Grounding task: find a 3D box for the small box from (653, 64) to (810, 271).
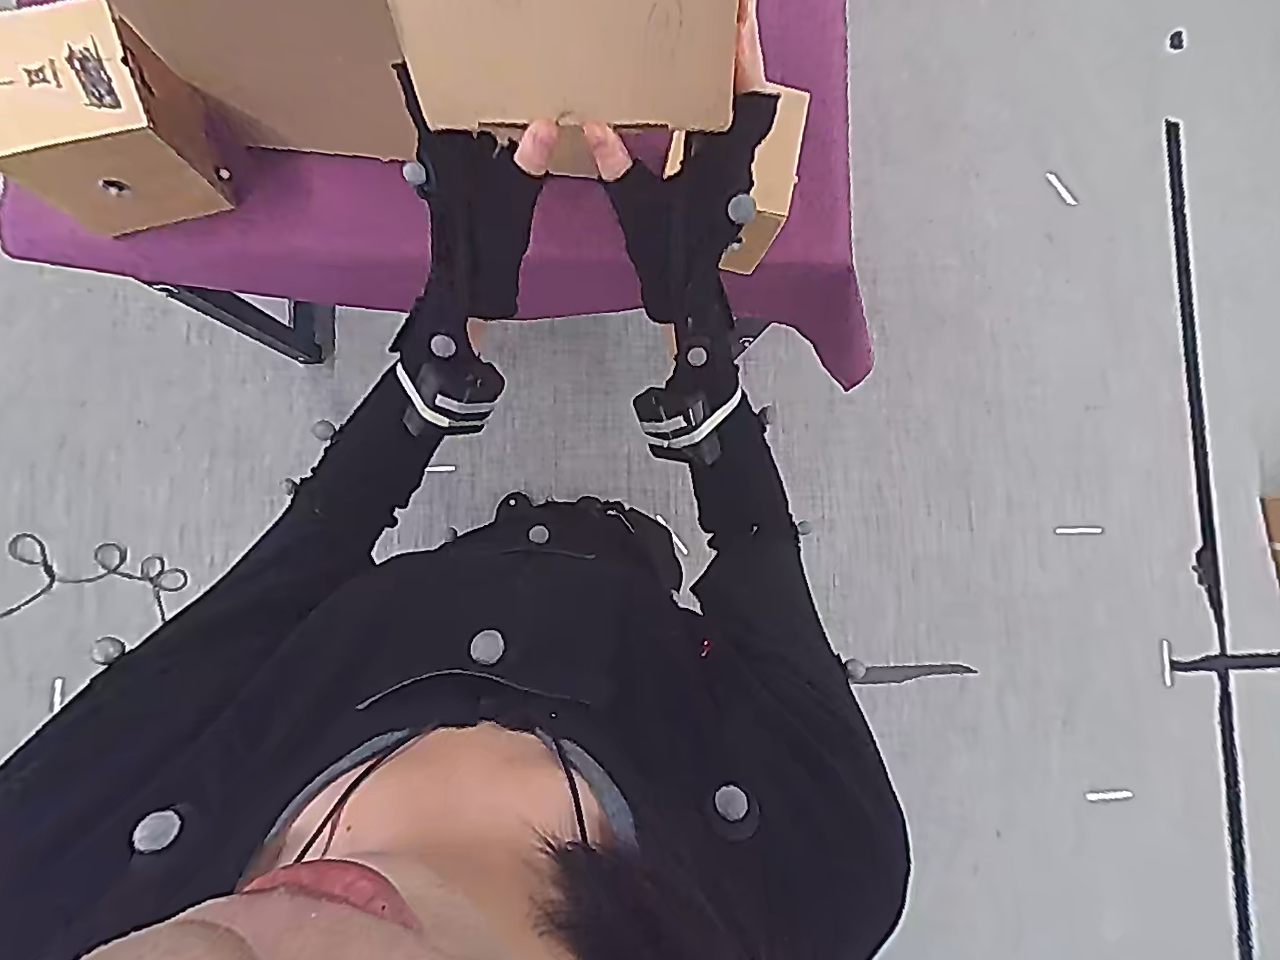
[{"bbox_3d":[0.119,-0.425,0.766,0.168,0.176,0.179,11,84,-5],"label":"small box"}]
